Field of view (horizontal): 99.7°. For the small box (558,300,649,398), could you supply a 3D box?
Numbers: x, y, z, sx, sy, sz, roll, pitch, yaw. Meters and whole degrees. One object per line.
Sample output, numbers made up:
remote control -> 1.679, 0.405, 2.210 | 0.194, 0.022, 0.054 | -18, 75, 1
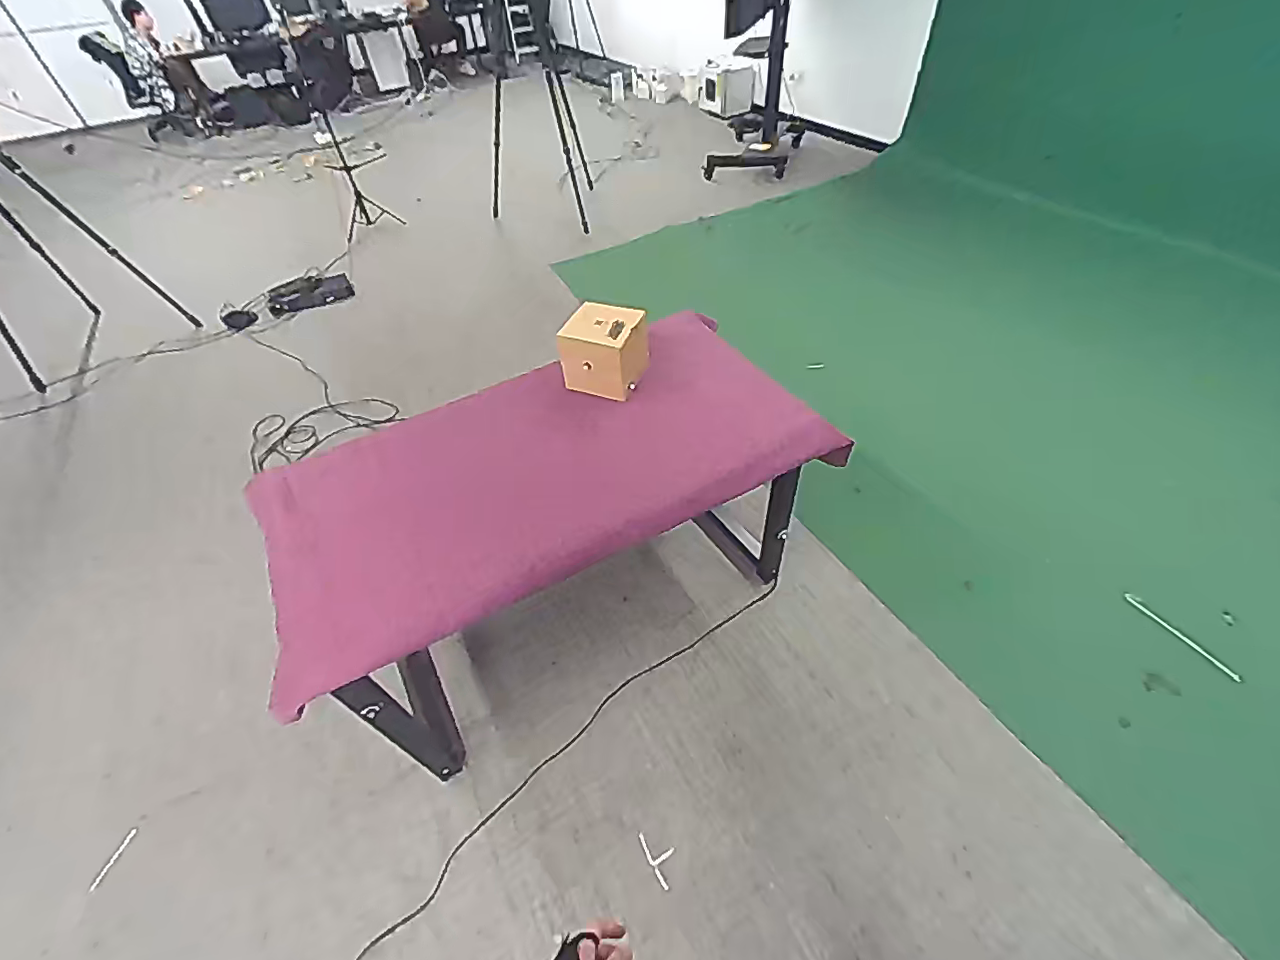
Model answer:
small box -> -0.084, -0.333, 1.388 | 0.179, 0.176, 0.168 | 16, 52, 18
